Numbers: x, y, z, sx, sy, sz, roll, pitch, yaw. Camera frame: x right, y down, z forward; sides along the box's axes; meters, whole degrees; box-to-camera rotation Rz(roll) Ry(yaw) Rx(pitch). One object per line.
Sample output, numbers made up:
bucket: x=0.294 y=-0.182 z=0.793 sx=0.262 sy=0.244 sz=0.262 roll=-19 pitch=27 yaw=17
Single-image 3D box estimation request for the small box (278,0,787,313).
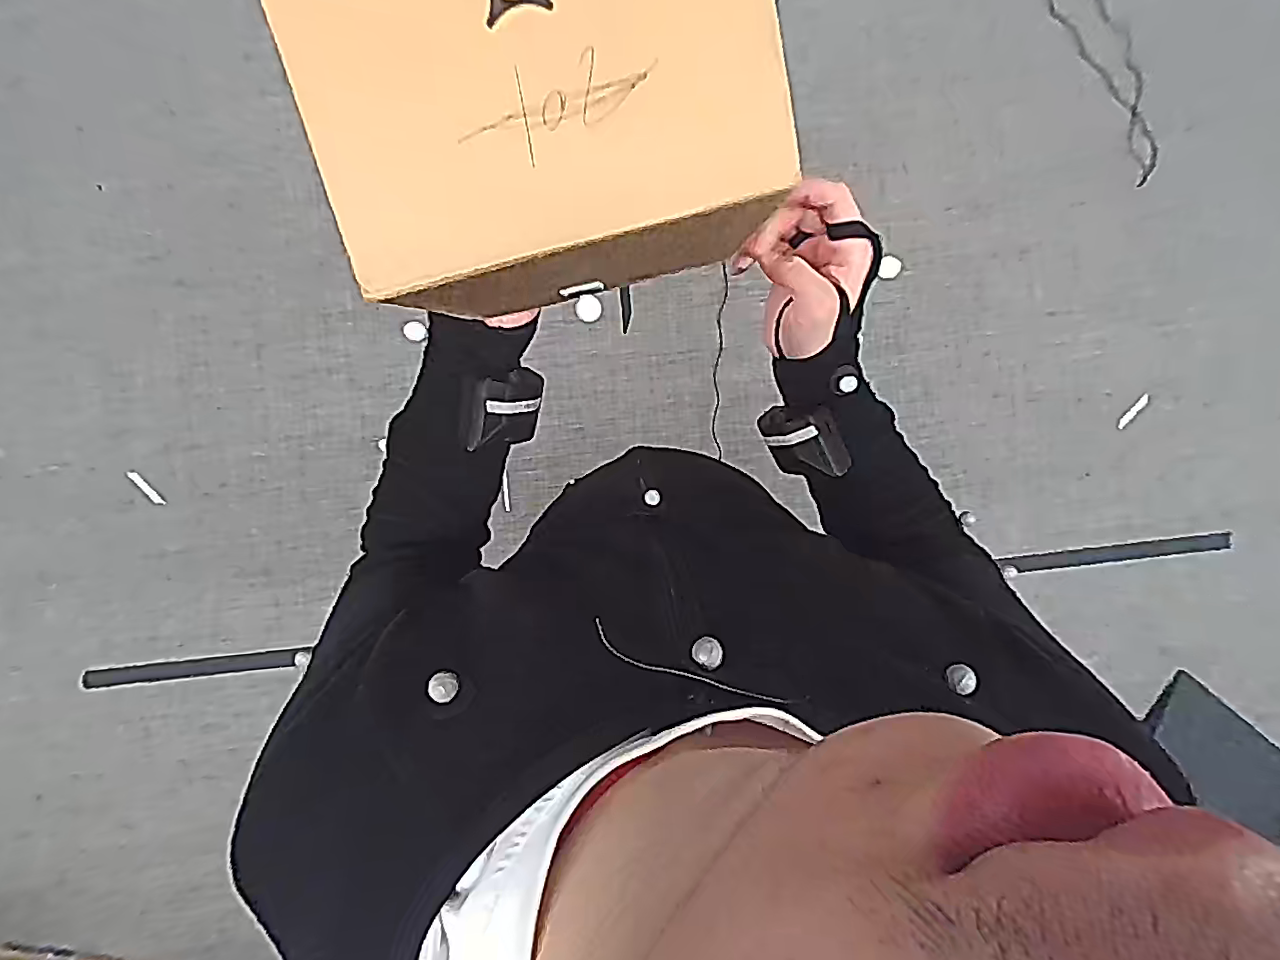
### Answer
small box: x=-0.043 y=-0.193 z=0.265 sx=0.168 sy=0.176 sz=0.179 roll=-14 pitch=103 yaw=5
